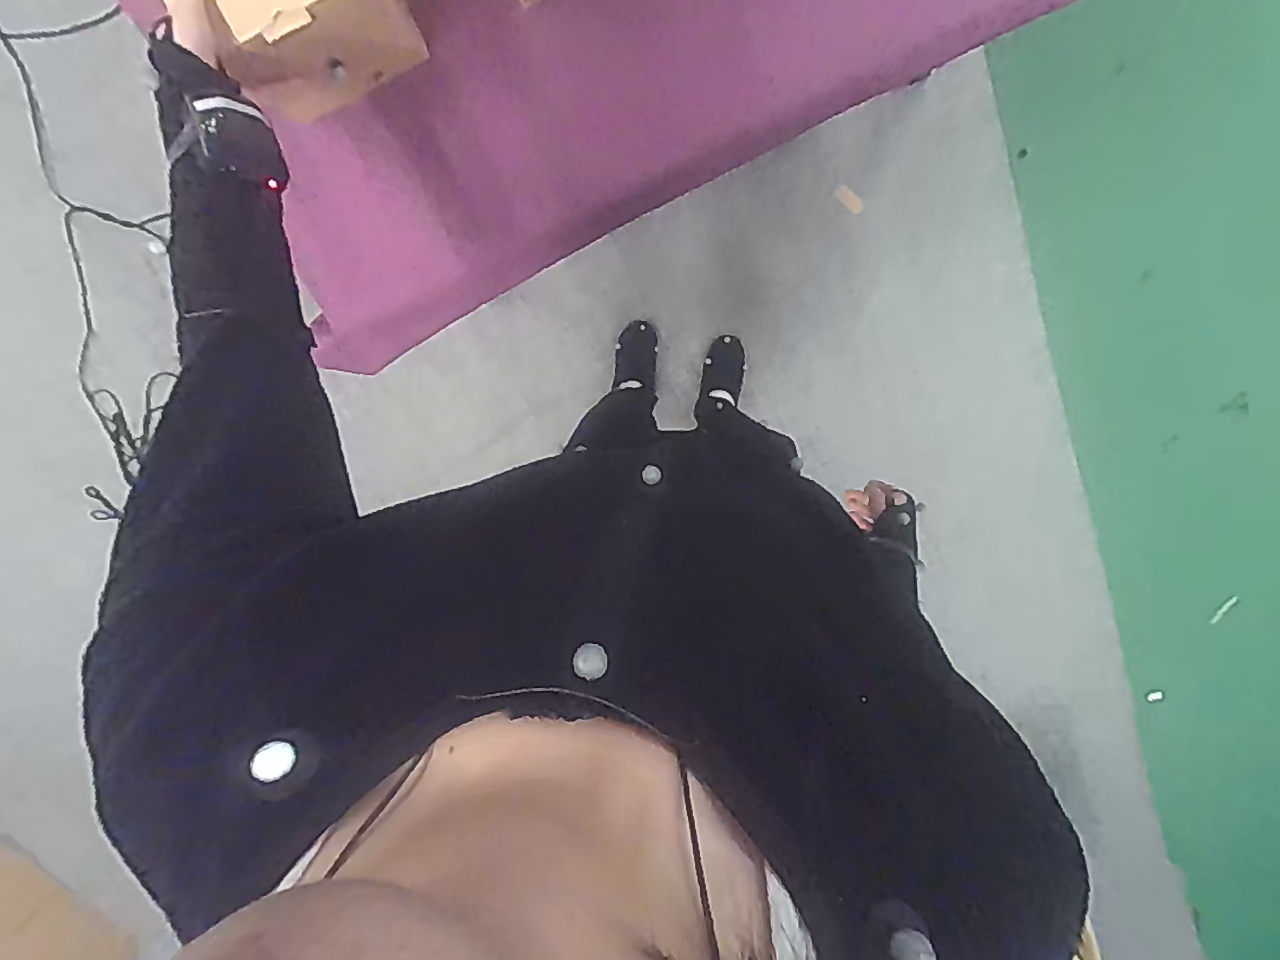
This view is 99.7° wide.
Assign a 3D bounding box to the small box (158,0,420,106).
[{"bbox_3d":[-0.337,-0.481,0.499,0.168,0.176,0.179,-23,110,5],"label":"small box"}]
